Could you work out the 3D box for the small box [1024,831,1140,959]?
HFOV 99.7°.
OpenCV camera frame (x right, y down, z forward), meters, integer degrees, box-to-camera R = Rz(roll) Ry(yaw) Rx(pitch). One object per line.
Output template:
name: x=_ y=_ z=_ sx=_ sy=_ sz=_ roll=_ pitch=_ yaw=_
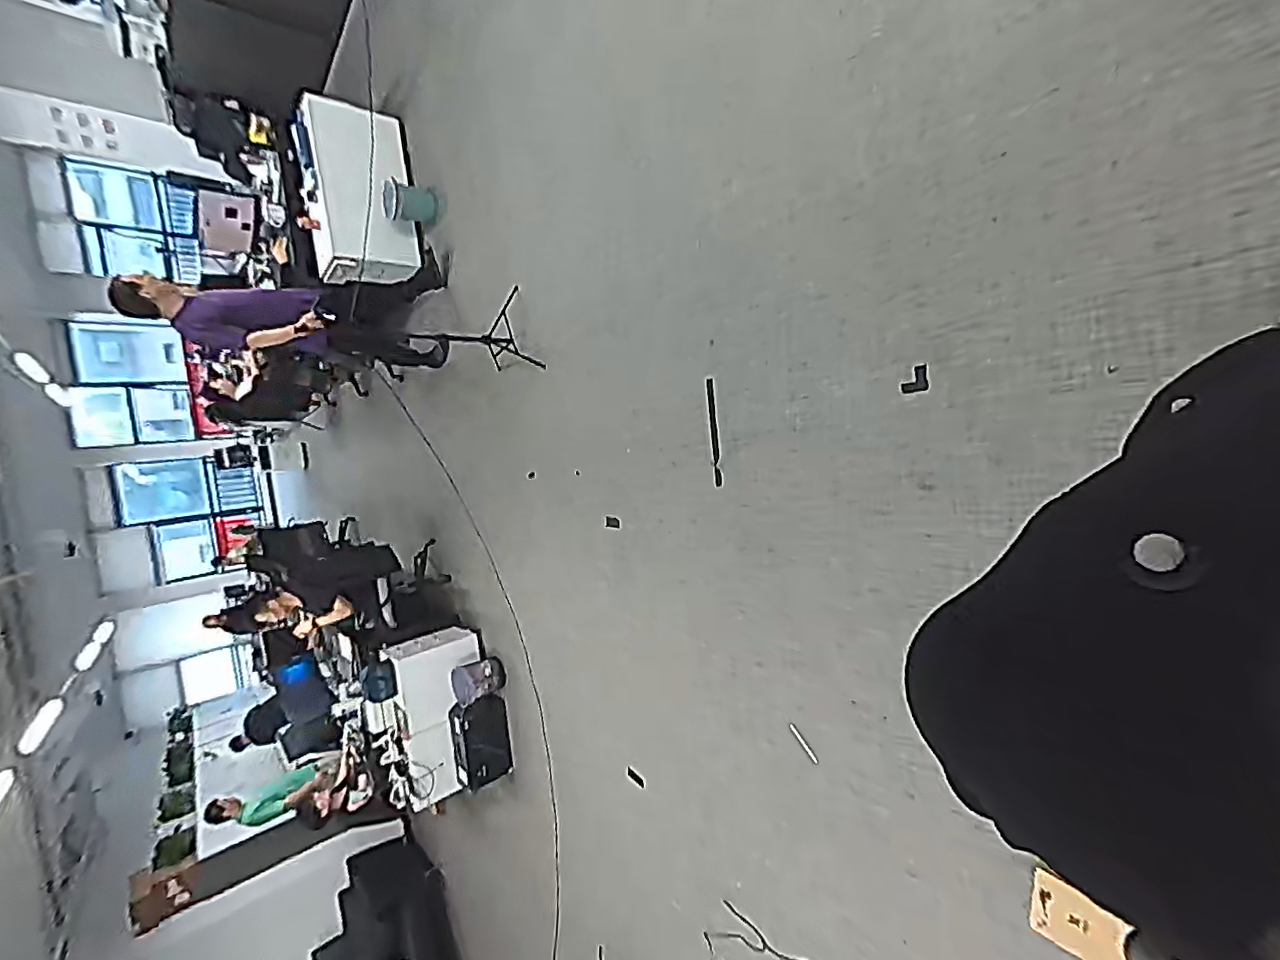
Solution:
small box: x=1.019 y=0.963 z=1.245 sx=0.179 sy=0.176 sz=0.168 roll=11 pitch=106 yaw=48
